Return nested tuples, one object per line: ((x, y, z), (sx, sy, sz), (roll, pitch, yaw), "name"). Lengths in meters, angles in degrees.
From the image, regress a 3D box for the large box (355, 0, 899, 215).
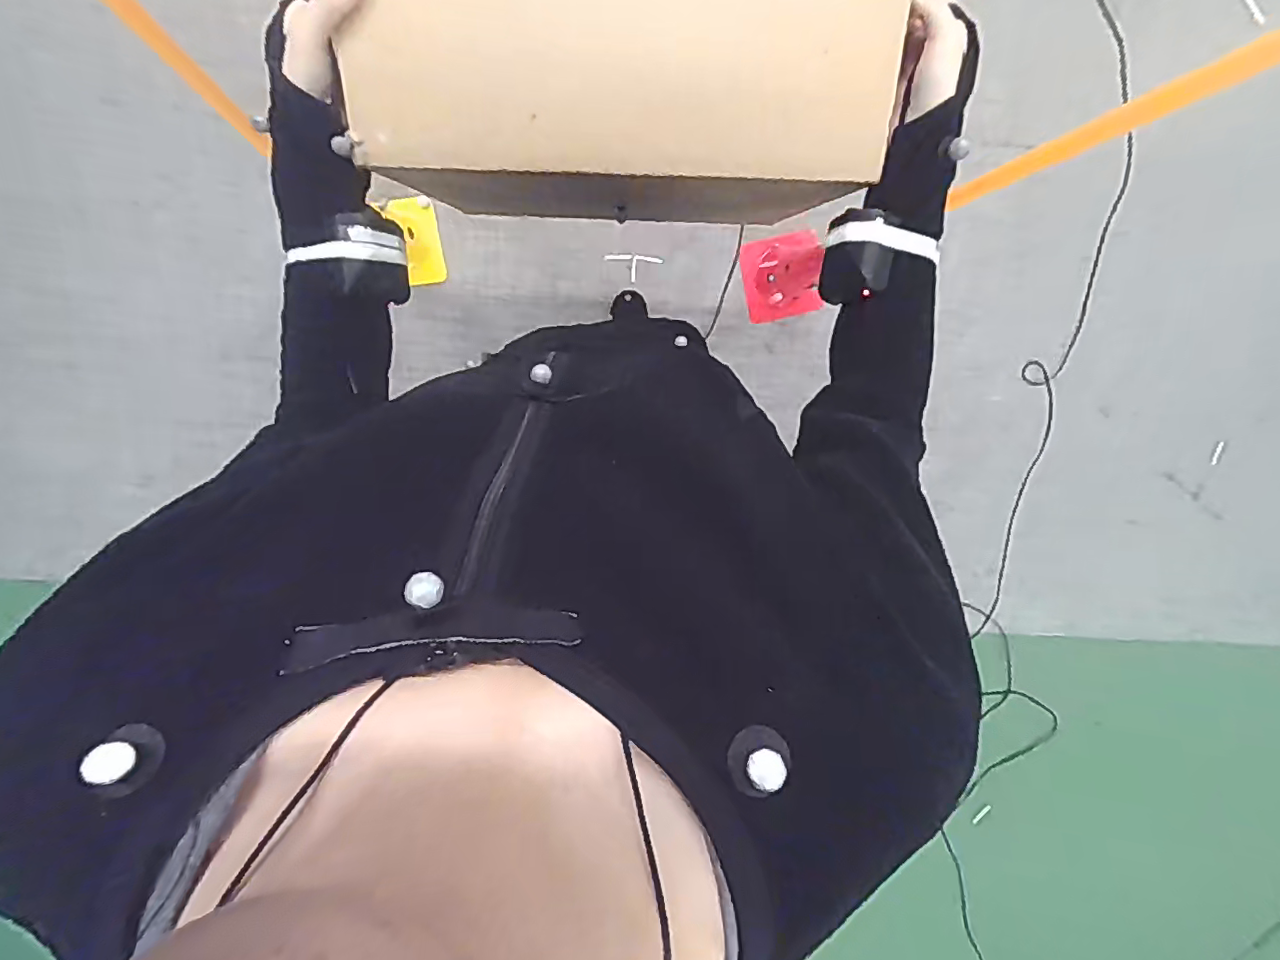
((-0.009, -0.439, 0.520), (0.408, 0.320, 0.320), (0, 109, -2), "large box")
